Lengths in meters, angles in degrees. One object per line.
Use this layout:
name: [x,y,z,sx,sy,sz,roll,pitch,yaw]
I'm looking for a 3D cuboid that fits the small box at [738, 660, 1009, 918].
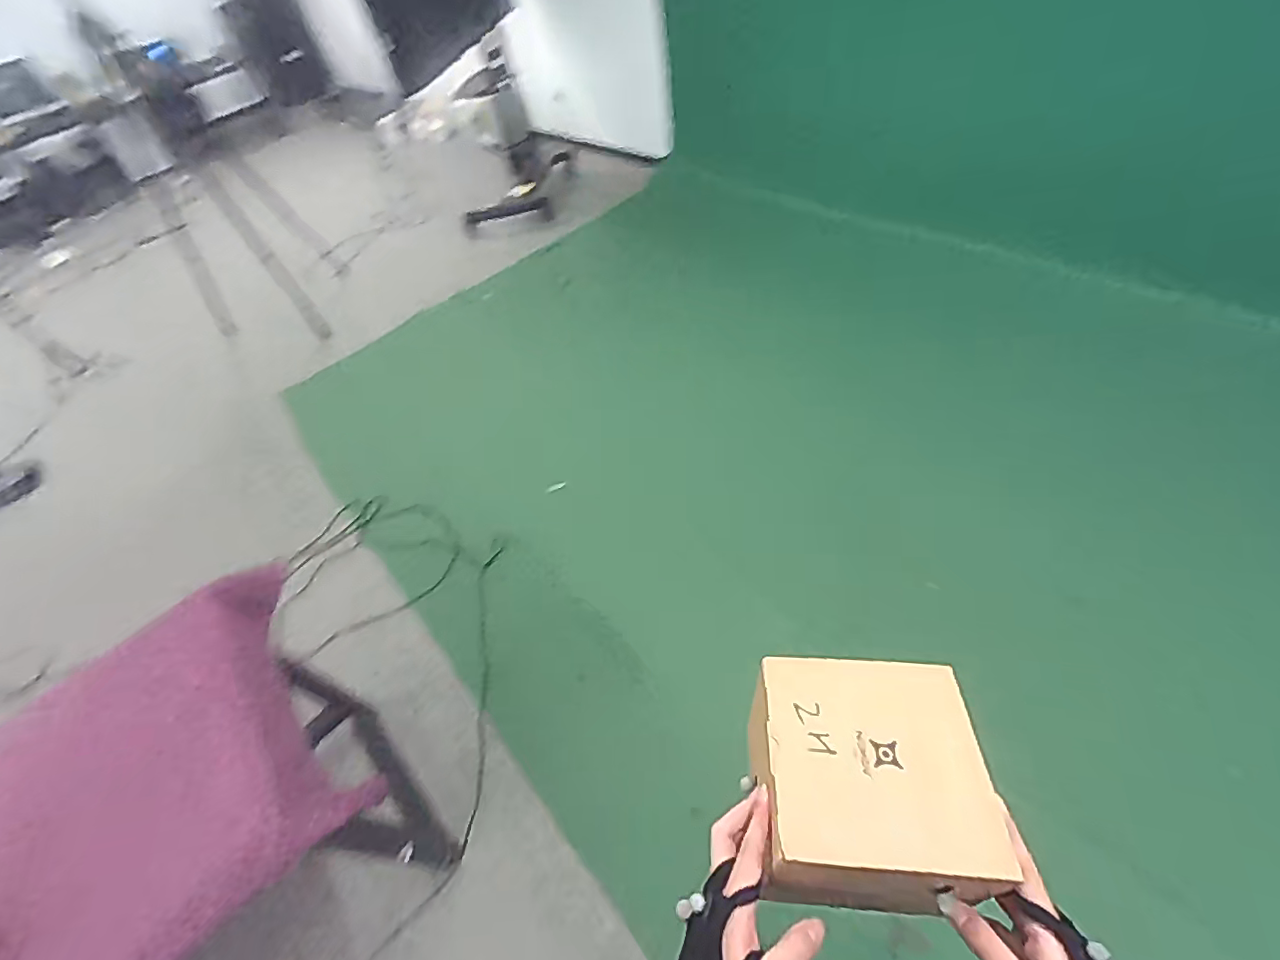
small box: [0.190,0.288,0.505,0.179,0.176,0.168,0,43,5]
